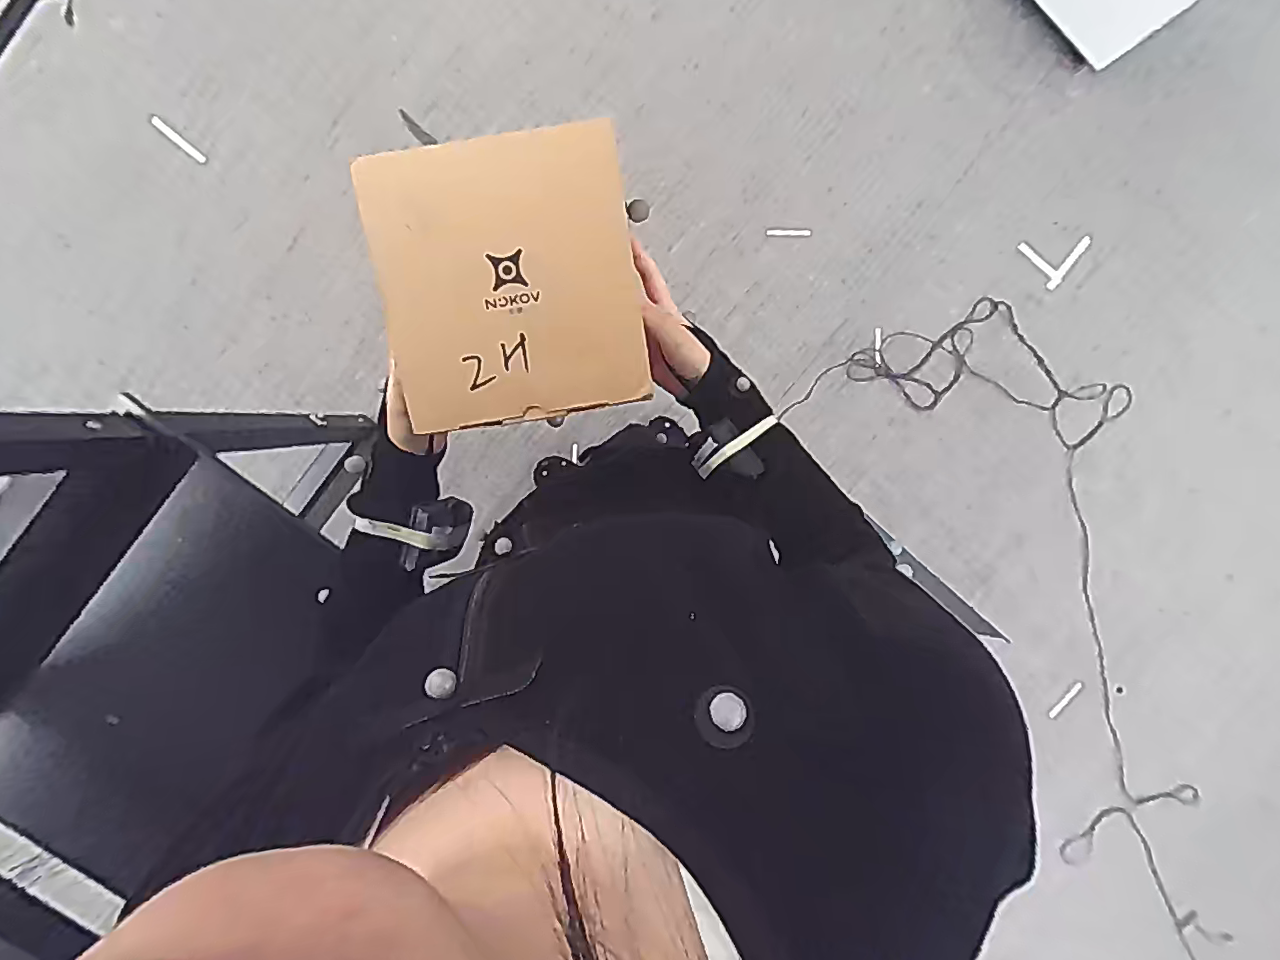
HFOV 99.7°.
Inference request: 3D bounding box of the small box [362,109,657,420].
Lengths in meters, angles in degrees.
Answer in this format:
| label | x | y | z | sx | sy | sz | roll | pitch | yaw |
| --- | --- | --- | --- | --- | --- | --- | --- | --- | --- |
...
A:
| label | x | y | z | sx | sy | sz | roll | pitch | yaw |
| --- | --- | --- | --- | --- | --- | --- | --- | --- | --- |
| small box | -0.082 | -0.149 | 0.426 | 0.168 | 0.176 | 0.179 | -8 | 102 | 0 |
